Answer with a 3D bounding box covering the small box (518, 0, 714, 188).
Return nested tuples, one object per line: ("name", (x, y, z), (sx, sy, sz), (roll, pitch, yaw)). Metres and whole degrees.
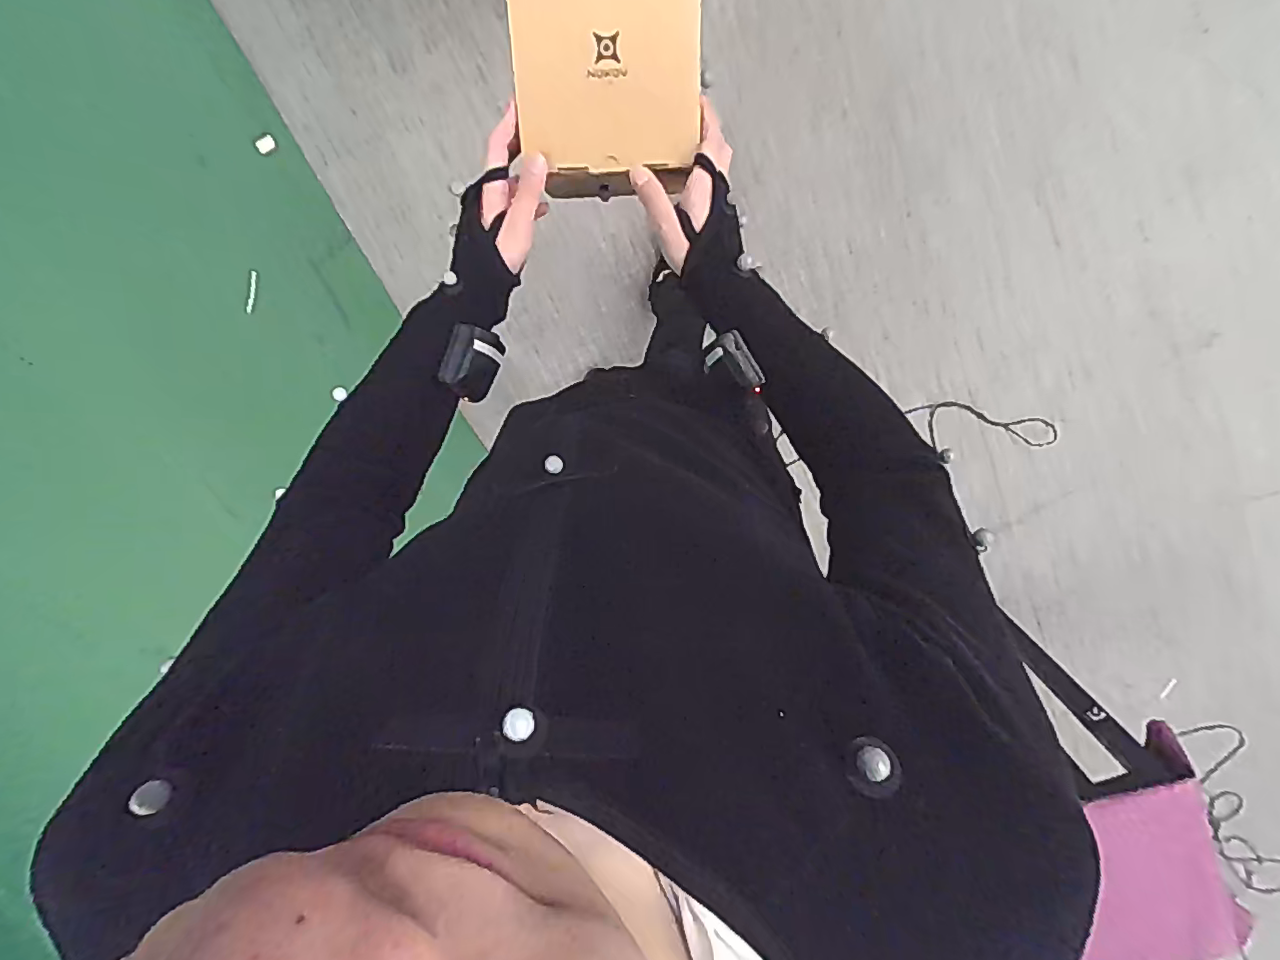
("small box", (-0.022, -0.399, 0.531), (0.168, 0.176, 0.179), (-3, 112, -1))
